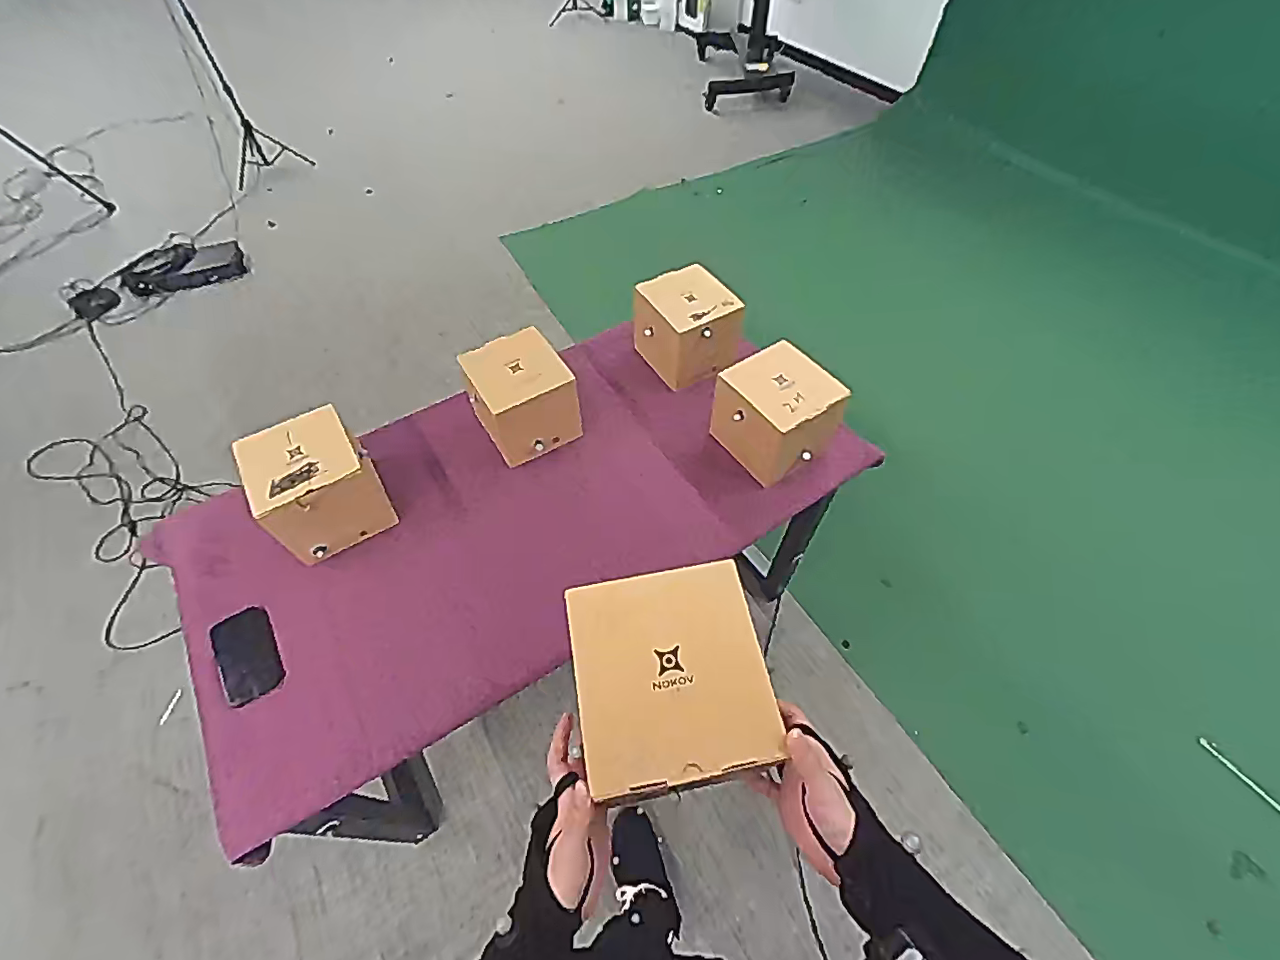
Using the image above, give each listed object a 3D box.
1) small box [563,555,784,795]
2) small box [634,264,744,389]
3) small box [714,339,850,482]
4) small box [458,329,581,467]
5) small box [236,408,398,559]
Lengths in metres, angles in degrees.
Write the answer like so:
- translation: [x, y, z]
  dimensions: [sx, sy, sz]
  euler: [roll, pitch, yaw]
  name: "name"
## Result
- translation: [0.021, 0.198, 0.538]
  dimensions: [0.168, 0.176, 0.179]
  euler: [-10, 60, -5]
  name: "small box"
- translation: [0.100, -0.332, 1.177]
  dimensions: [0.168, 0.176, 0.179]
  euler: [-27, 59, -16]
  name: "small box"
- translation: [0.256, -0.129, 1.027]
  dimensions: [0.168, 0.176, 0.179]
  euler: [-30, 60, -17]
  name: "small box"
- translation: [-0.231, -0.158, 1.062]
  dimensions: [0.168, 0.176, 0.179]
  euler: [-28, 60, -17]
  name: "small box"
- translation: [-0.552, 0.015, 0.942]
  dimensions: [0.168, 0.176, 0.179]
  euler: [-29, 59, -18]
  name: "small box"
